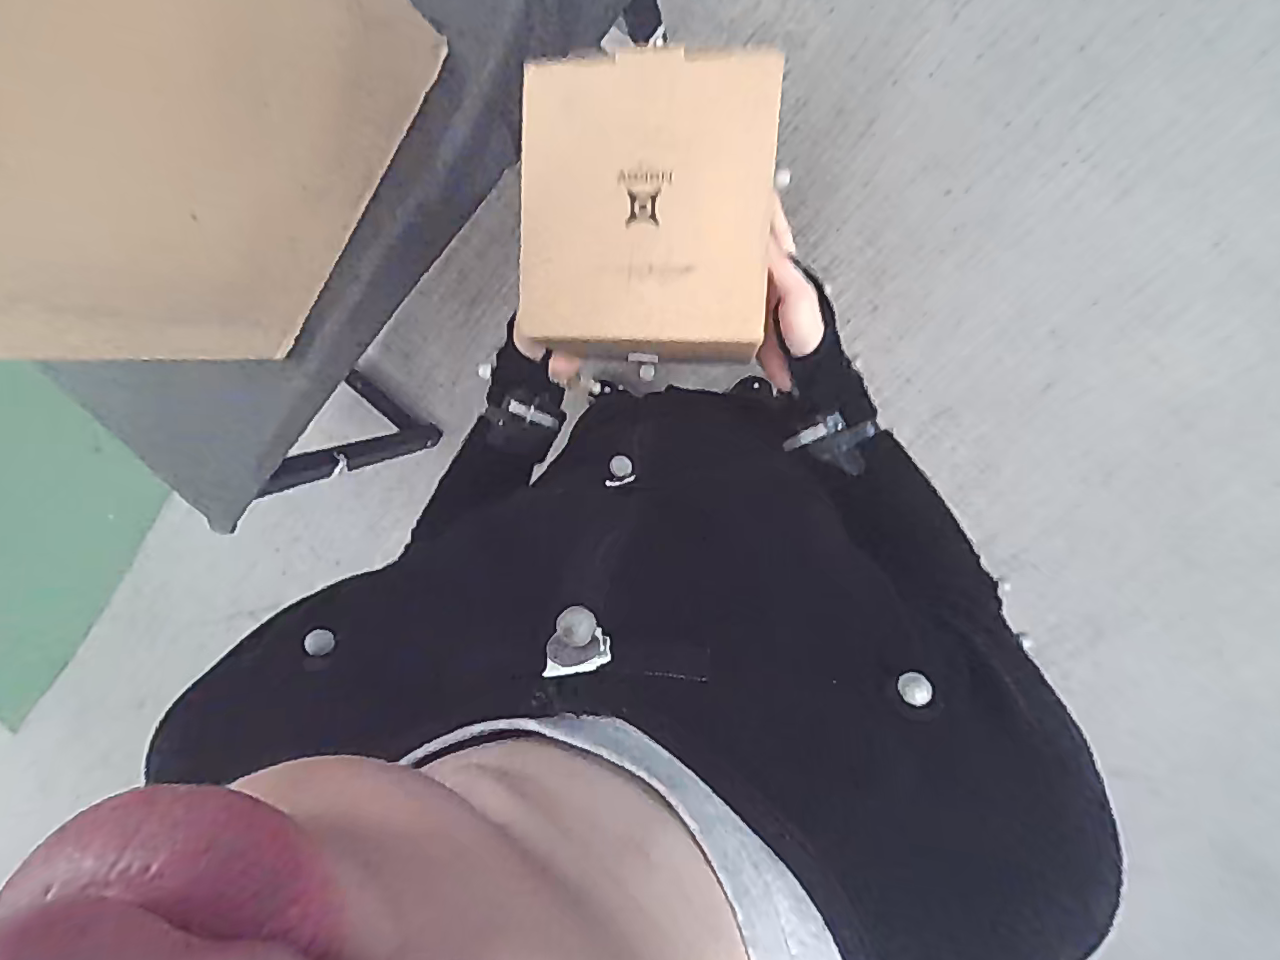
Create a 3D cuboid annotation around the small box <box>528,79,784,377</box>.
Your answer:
[{"bbox_3d":[0.017,-0.180,0.438,0.168,0.176,0.179,3,98,8],"label":"small box"}]
